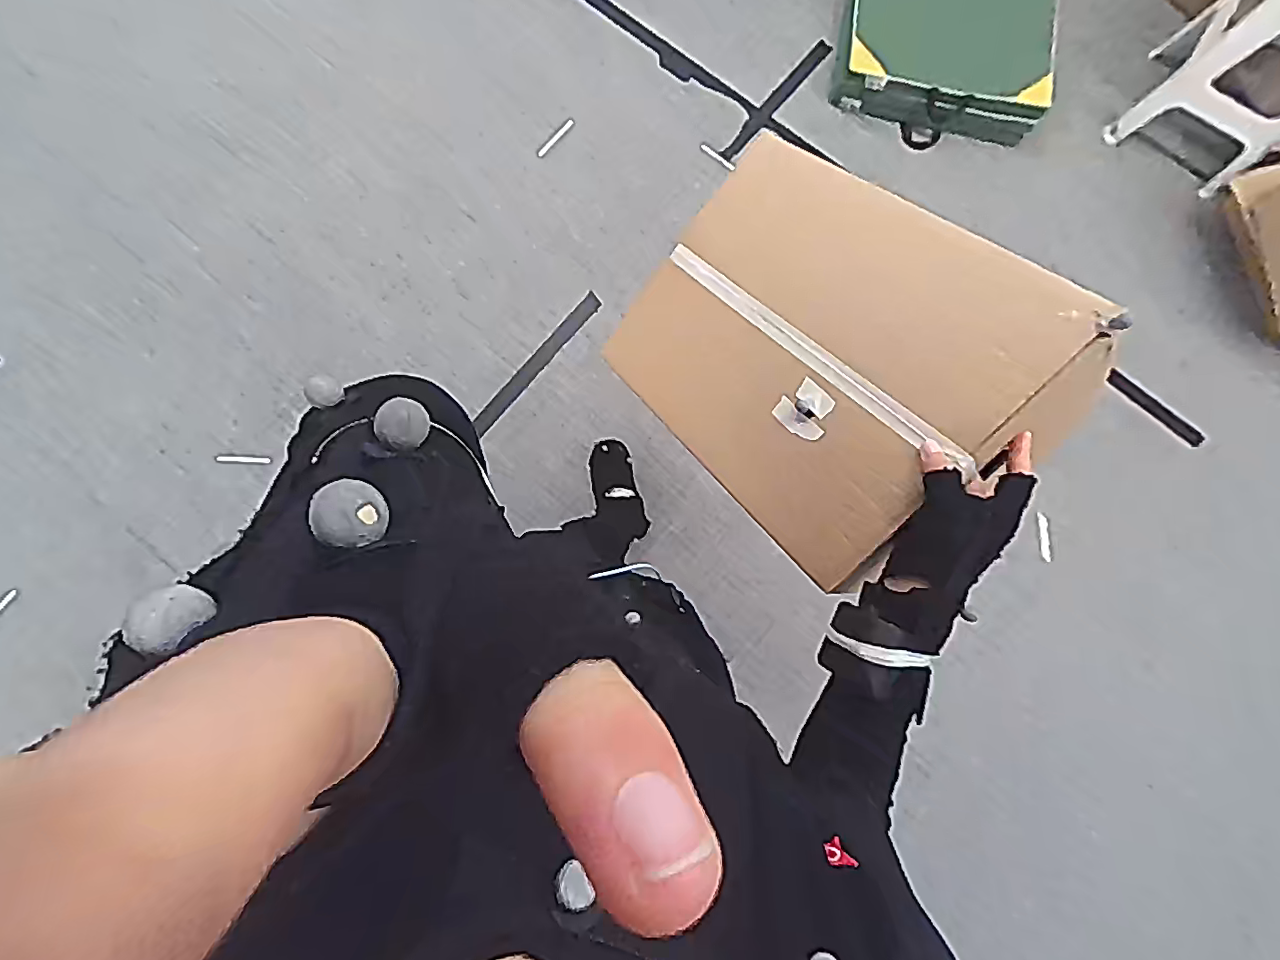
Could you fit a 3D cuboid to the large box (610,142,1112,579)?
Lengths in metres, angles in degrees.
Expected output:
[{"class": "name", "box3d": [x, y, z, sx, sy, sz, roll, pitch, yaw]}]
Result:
[{"class": "large box", "box3d": [0.244, -0.125, 0.680, 0.320, 0.320, 0.408, -50, 58, 17]}]
